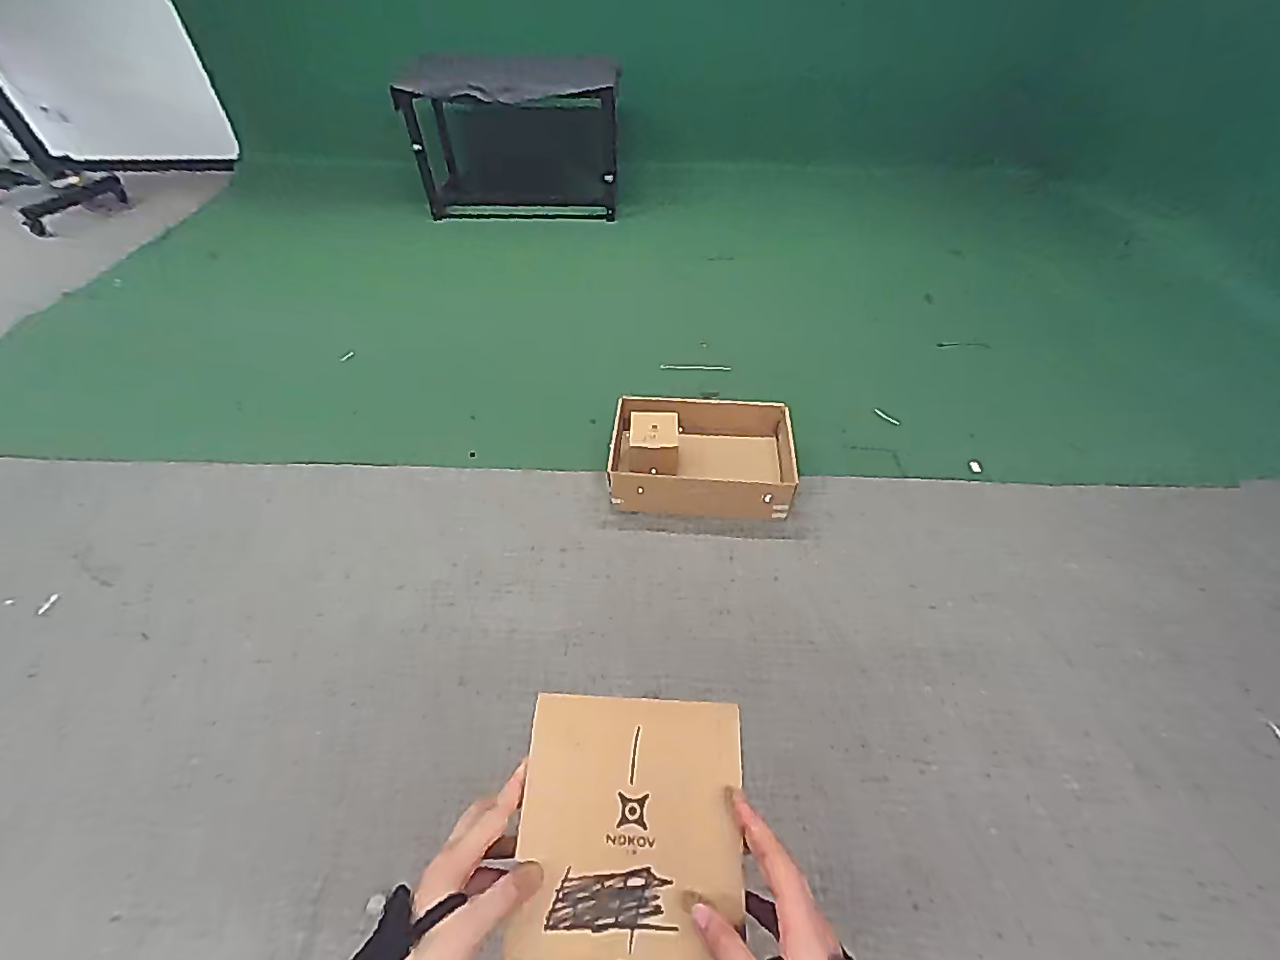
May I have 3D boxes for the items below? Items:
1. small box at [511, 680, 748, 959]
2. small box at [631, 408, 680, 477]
[{"bbox_3d":[0.001,0.280,0.471,0.168,0.176,0.179,2,63,4],"label":"small box"},{"bbox_3d":[0.053,-0.131,1.893,0.168,0.176,0.179,1,49,1],"label":"small box"}]
